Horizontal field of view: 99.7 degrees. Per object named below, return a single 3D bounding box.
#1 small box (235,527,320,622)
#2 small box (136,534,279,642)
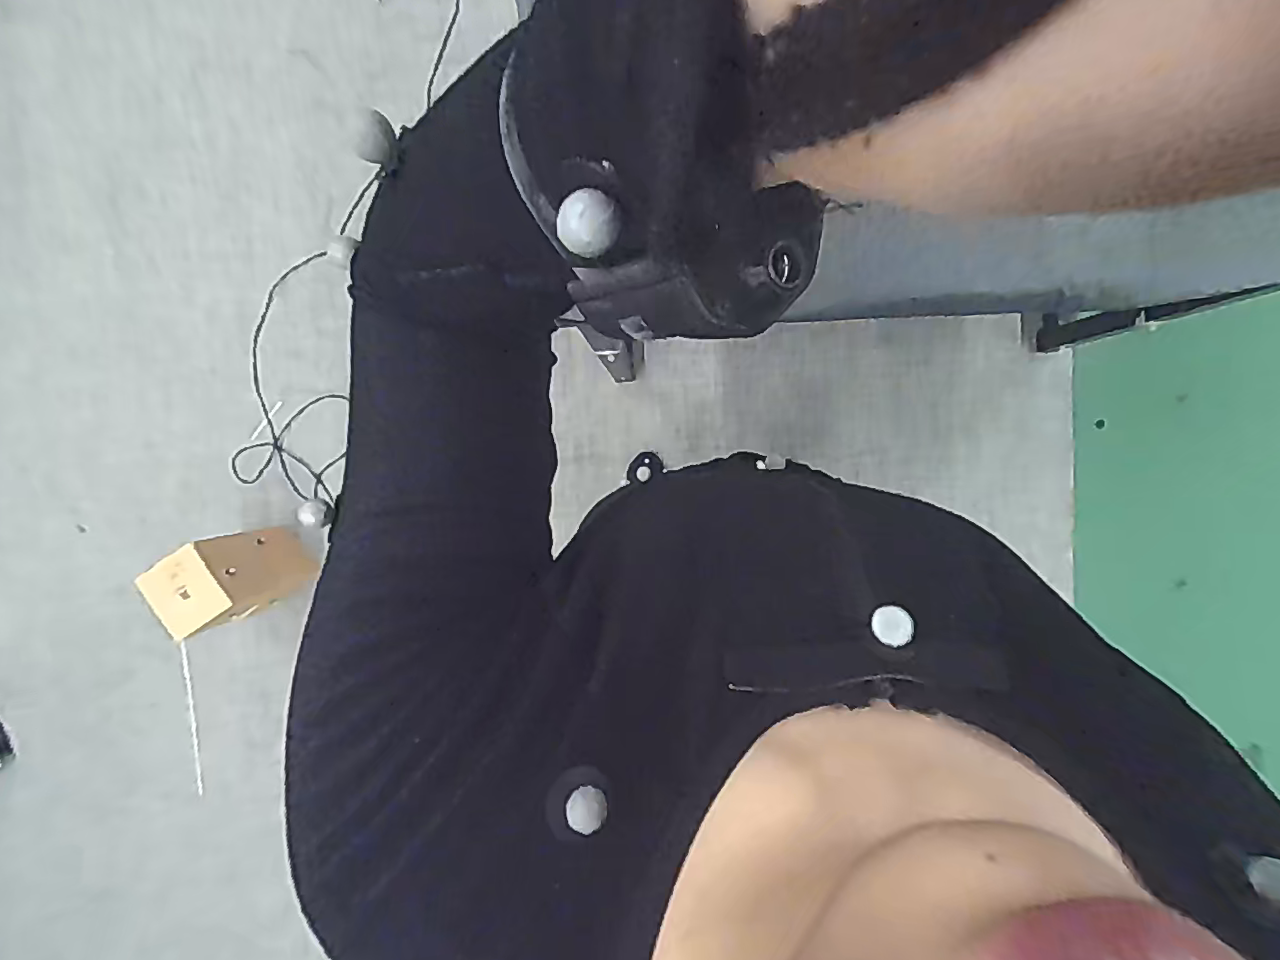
[{"bbox_3d":[-1.019,0.246,1.464,0.168,0.176,0.179,-39,91,4],"label":"small box"},{"bbox_3d":[-1.025,0.250,1.299,0.168,0.176,0.179,-33,91,3],"label":"small box"}]
